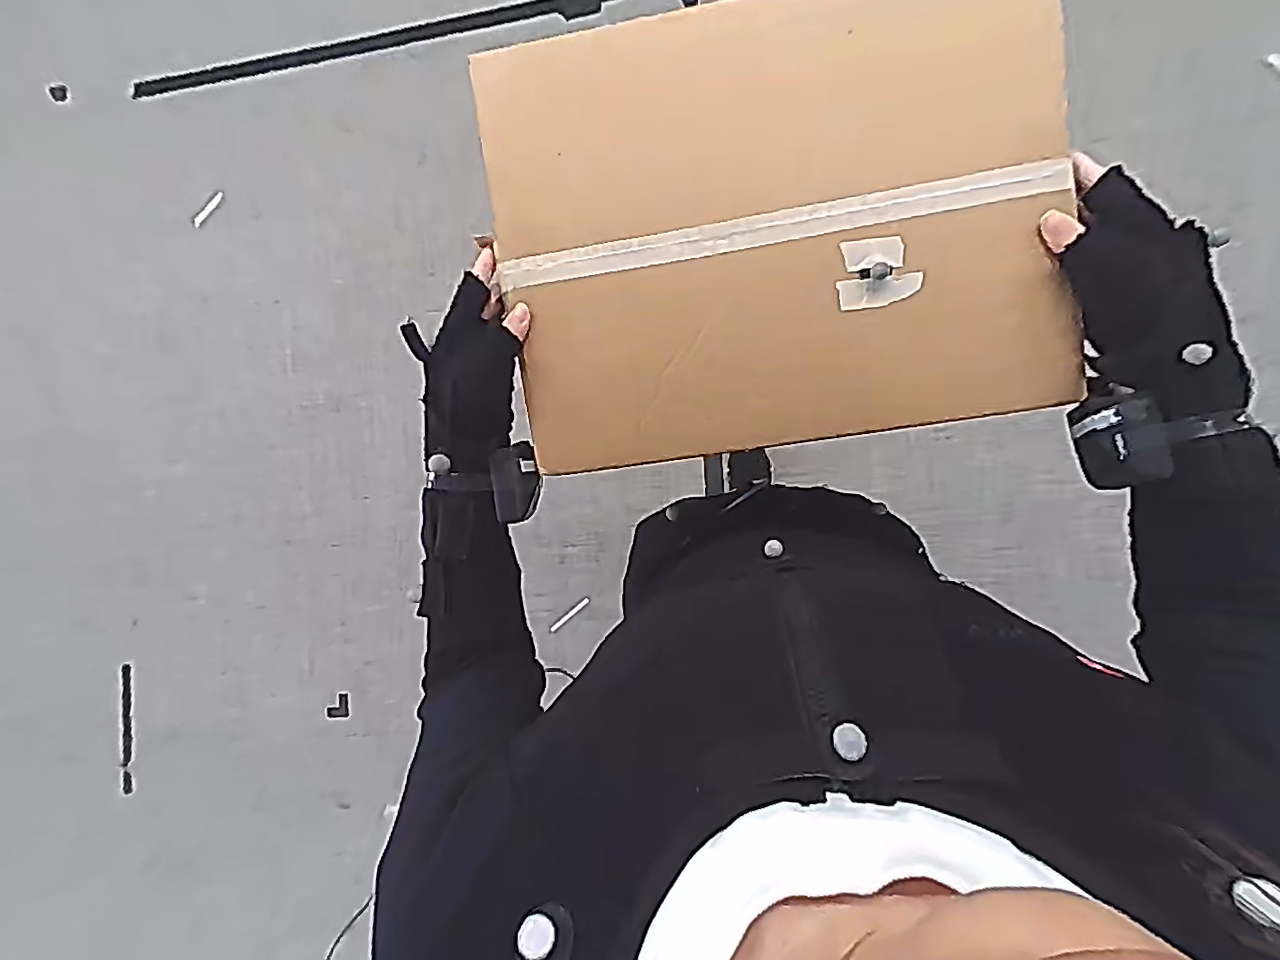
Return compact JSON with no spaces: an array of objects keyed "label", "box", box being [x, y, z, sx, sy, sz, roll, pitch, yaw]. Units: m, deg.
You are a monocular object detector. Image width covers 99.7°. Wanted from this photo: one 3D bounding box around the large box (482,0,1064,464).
[{"label":"large box","box":[0.107,-0.209,0.552,0.408,0.320,0.320,-8,97,5]}]
